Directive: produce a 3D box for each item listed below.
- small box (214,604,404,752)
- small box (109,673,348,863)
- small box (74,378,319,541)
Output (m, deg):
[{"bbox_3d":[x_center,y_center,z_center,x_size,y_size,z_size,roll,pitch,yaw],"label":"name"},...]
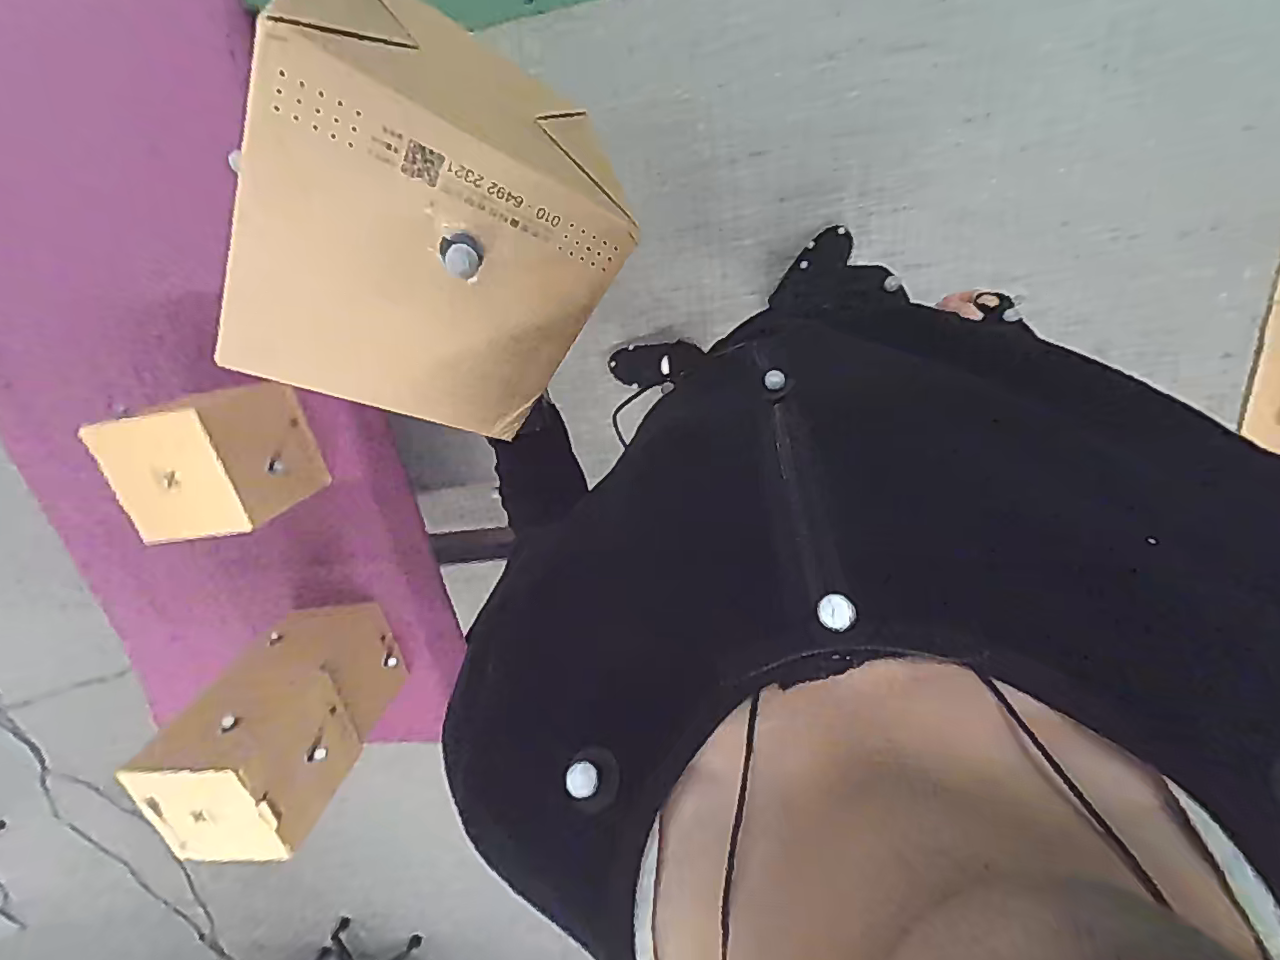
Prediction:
[{"bbox_3d":[-0.528,0.323,0.890,0.179,0.176,0.168,-8,112,9],"label":"small box"},{"bbox_3d":[-0.534,0.384,0.738,0.179,0.176,0.168,-6,112,8],"label":"small box"},{"bbox_3d":[-0.586,-0.035,0.748,0.179,0.176,0.168,-7,112,11],"label":"small box"}]
